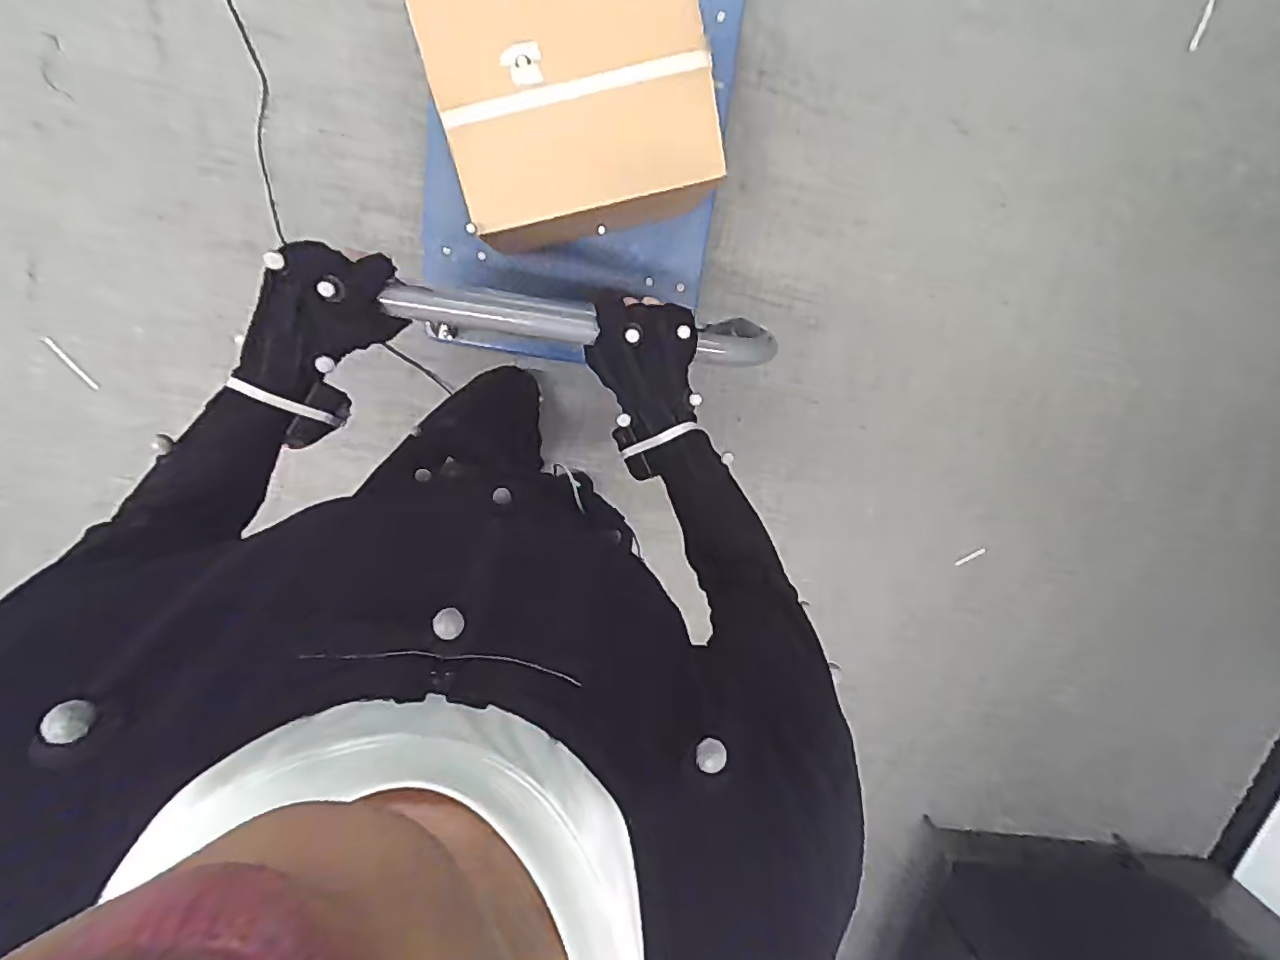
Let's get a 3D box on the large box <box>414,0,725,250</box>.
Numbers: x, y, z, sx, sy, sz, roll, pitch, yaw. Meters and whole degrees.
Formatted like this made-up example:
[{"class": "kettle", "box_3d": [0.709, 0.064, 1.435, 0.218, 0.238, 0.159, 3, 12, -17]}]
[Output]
[{"class": "large box", "box_3d": [-0.104, -0.622, 0.945, 0.408, 0.320, 0.320, -14, 107, -1]}]
